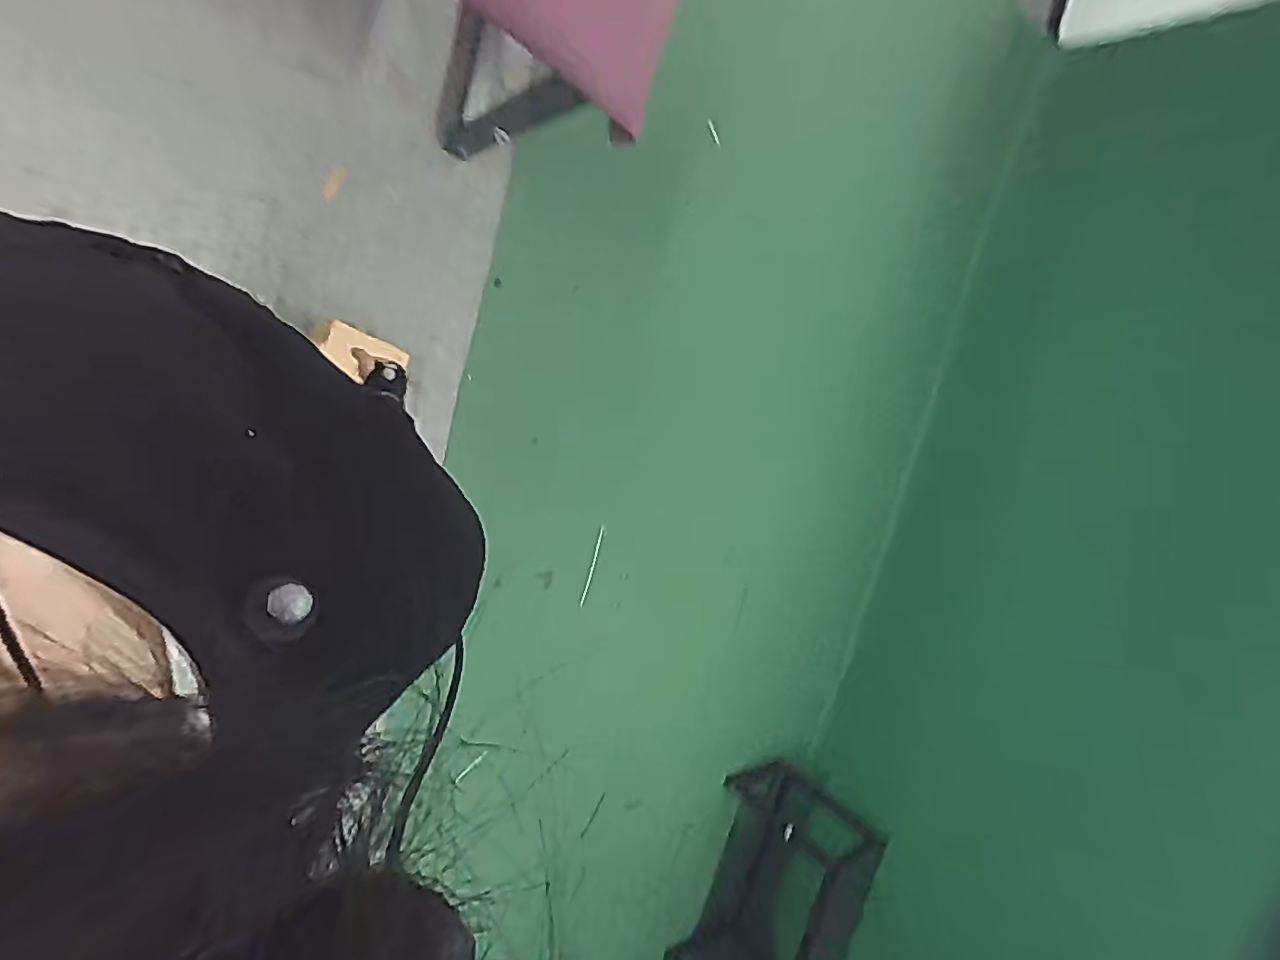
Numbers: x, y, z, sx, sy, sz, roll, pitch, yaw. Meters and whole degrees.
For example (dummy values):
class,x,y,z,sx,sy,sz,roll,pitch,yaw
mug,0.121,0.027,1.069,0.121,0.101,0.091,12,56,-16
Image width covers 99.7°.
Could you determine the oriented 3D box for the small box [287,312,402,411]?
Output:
class,x,y,z,sx,sy,sz,roll,pitch,yaw
small box,-0.703,-0.281,1.279,0.179,0.176,0.168,24,89,-44
